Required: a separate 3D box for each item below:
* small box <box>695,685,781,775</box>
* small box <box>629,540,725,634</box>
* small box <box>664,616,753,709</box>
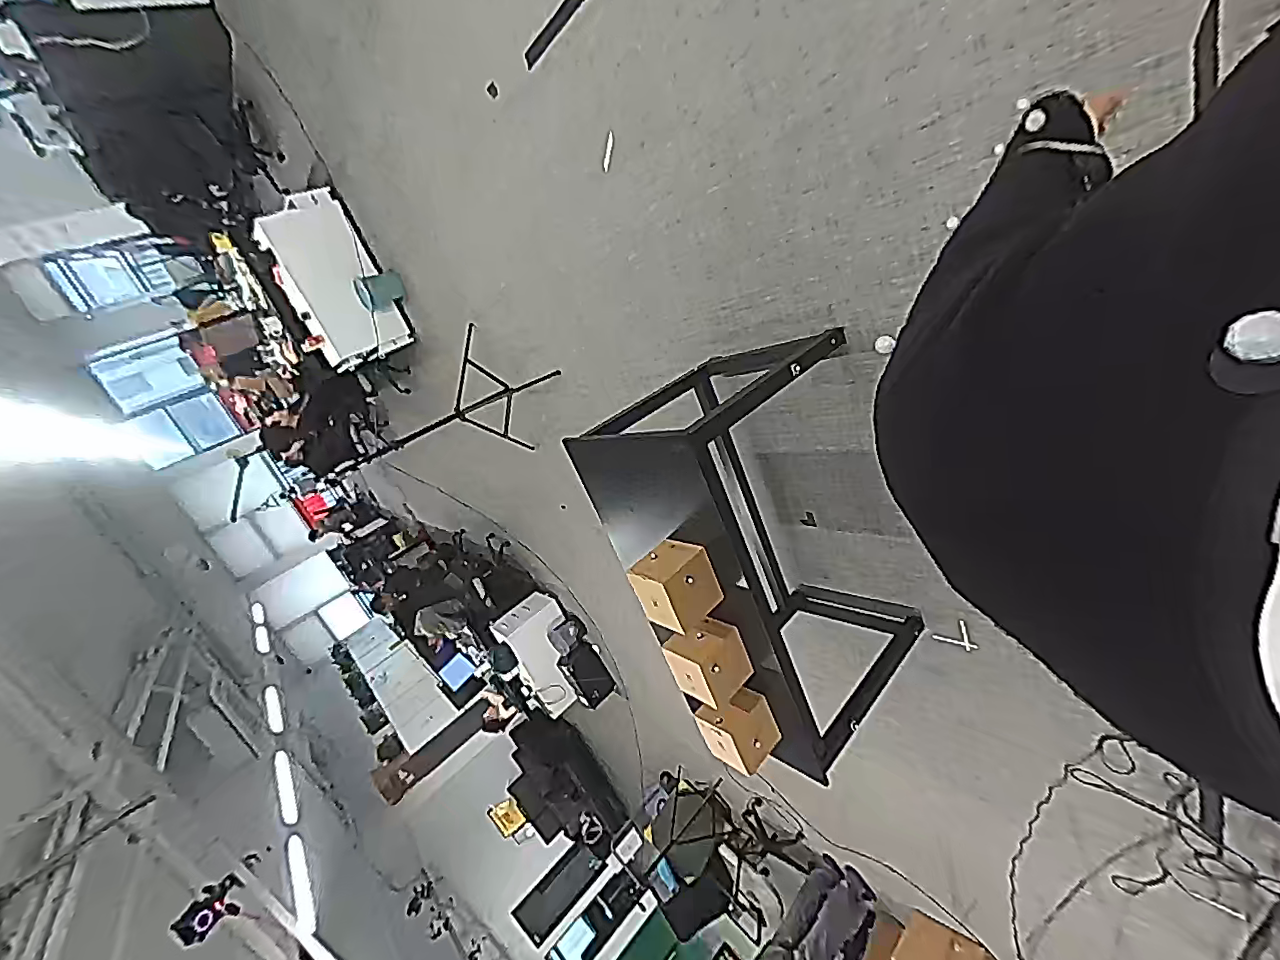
[{"bbox_3d":[0.309,0.761,1.681,0.168,0.176,0.179,1,121,54],"label":"small box"},{"bbox_3d":[0.104,0.287,1.500,0.168,0.176,0.179,5,125,55],"label":"small box"},{"bbox_3d":[0.204,0.525,1.592,0.168,0.176,0.179,6,125,53],"label":"small box"}]
